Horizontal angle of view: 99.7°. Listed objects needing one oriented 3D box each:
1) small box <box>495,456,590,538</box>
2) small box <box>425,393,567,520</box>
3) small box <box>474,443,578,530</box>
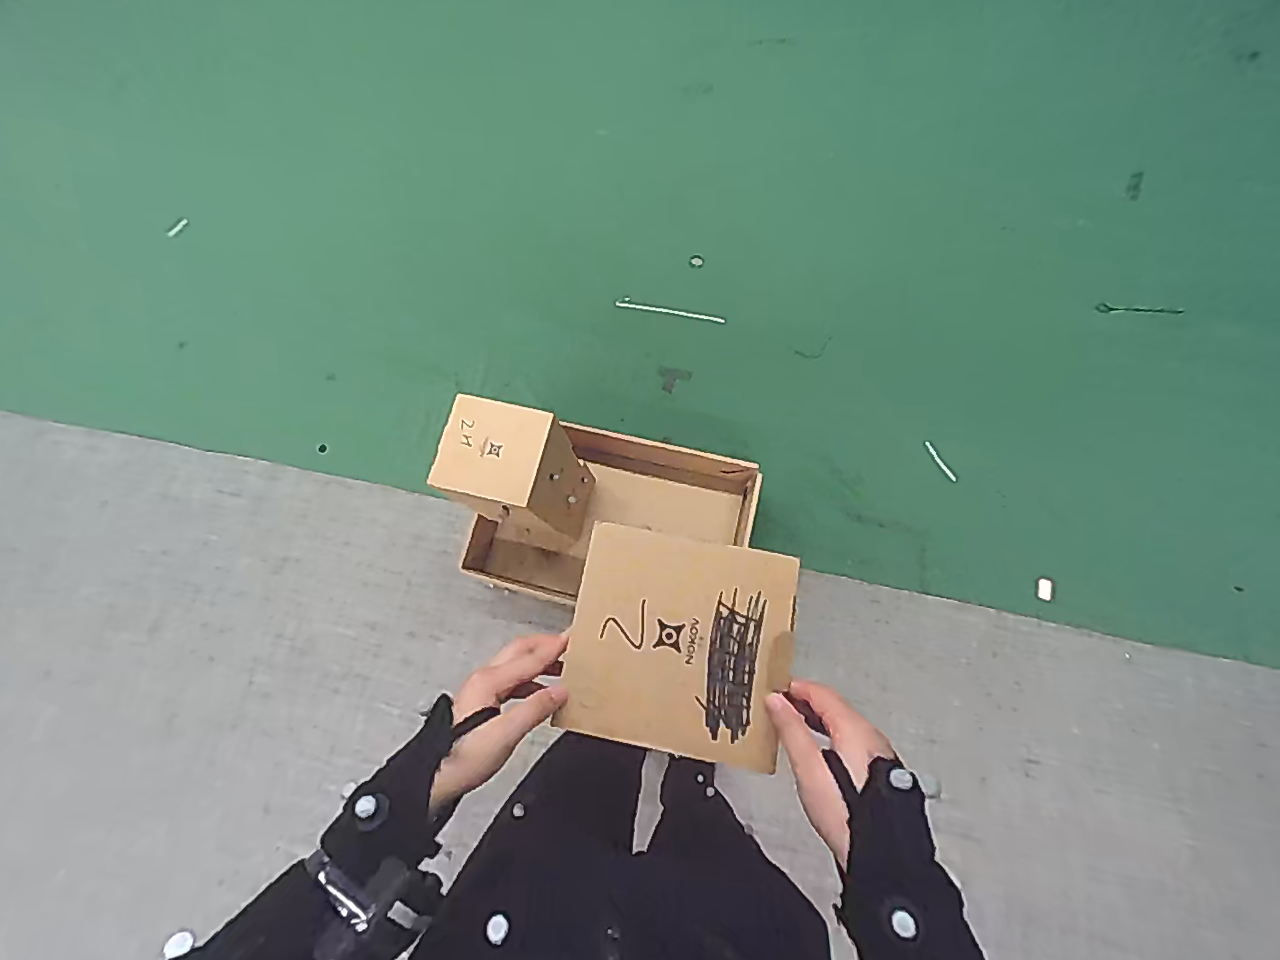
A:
[{"bbox_3d":[-0.223,0.032,1.280,0.168,0.176,0.179,12,78,6],"label":"small box"},{"bbox_3d":[-0.241,-0.032,0.957,0.179,0.176,0.168,12,77,7],"label":"small box"},{"bbox_3d":[-0.241,0.001,1.119,0.179,0.176,0.168,13,79,5],"label":"small box"}]
